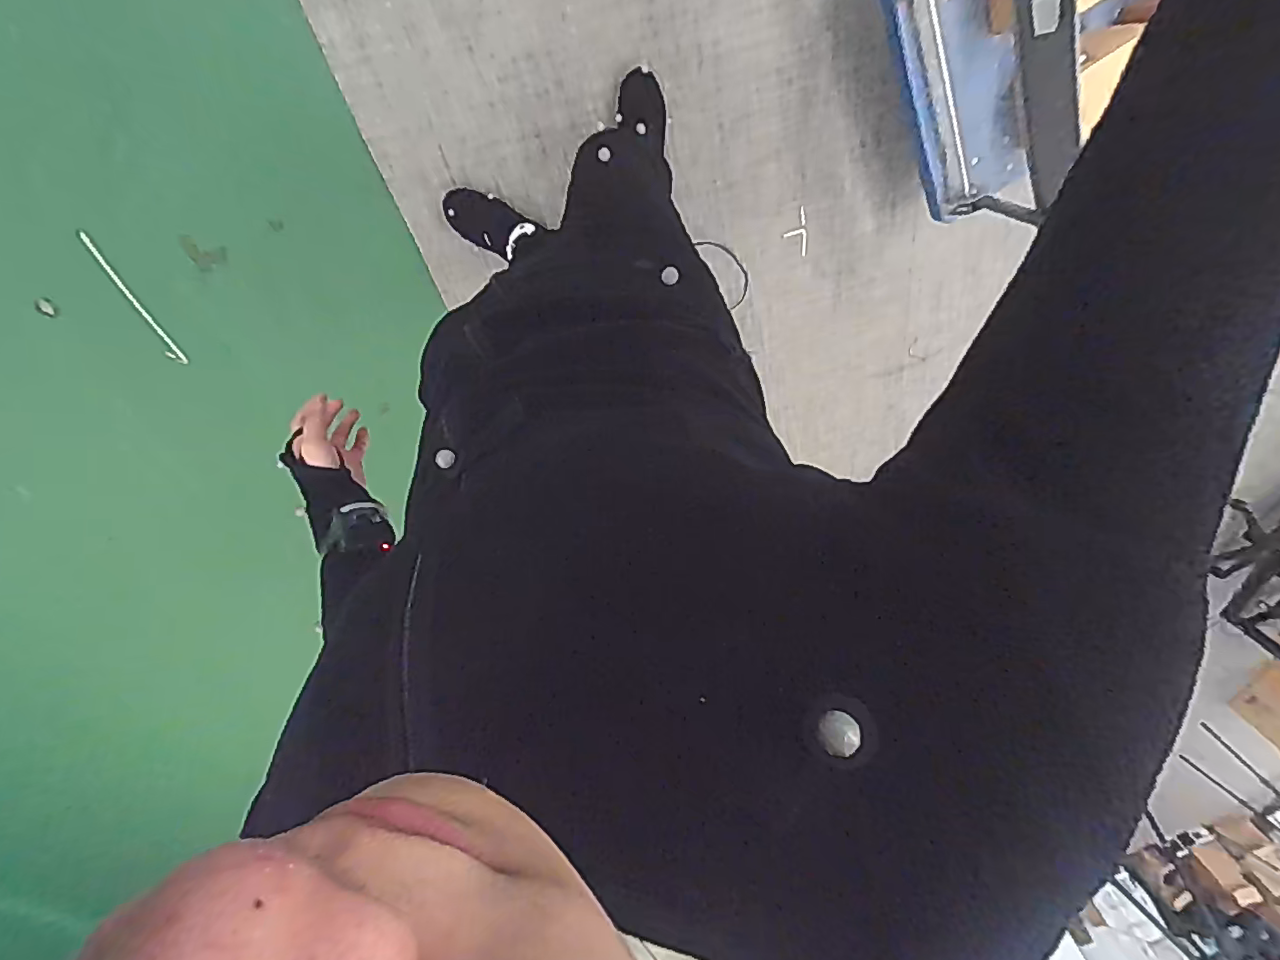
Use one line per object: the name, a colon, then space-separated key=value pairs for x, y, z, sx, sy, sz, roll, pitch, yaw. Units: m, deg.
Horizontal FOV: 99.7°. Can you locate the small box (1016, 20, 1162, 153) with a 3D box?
small box: x=0.965 y=-0.850 z=1.174 sx=0.179 sy=0.176 sz=0.168 roll=-31 pitch=127 yaw=10
